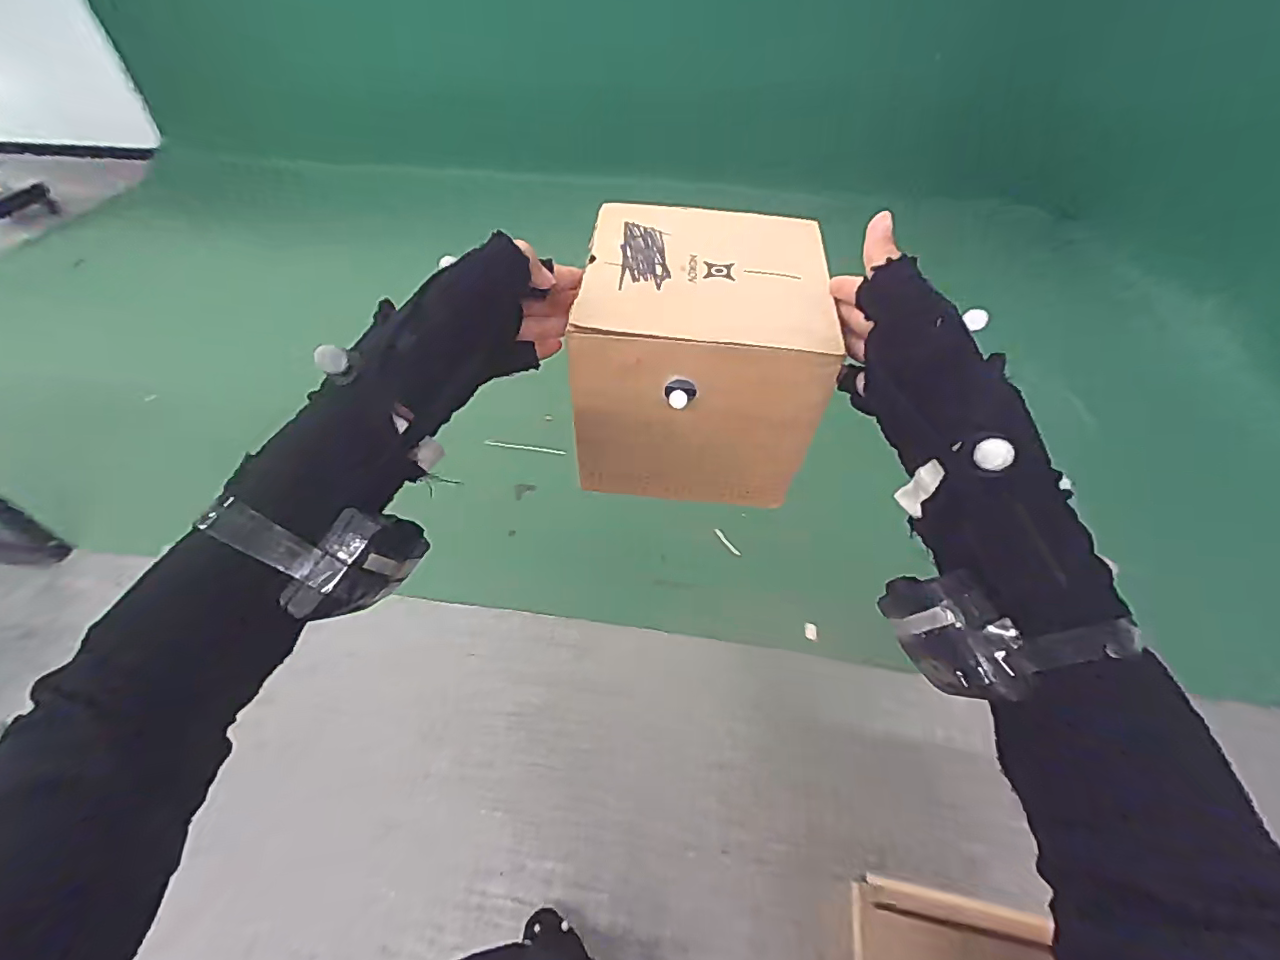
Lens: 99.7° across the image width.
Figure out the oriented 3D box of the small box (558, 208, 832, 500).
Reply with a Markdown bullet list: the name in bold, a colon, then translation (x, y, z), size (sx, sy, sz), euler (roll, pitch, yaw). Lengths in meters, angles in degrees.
- **small box**: translation (0.039, -0.099, 0.448), size (0.179, 0.176, 0.168), euler (5, 53, 1)
